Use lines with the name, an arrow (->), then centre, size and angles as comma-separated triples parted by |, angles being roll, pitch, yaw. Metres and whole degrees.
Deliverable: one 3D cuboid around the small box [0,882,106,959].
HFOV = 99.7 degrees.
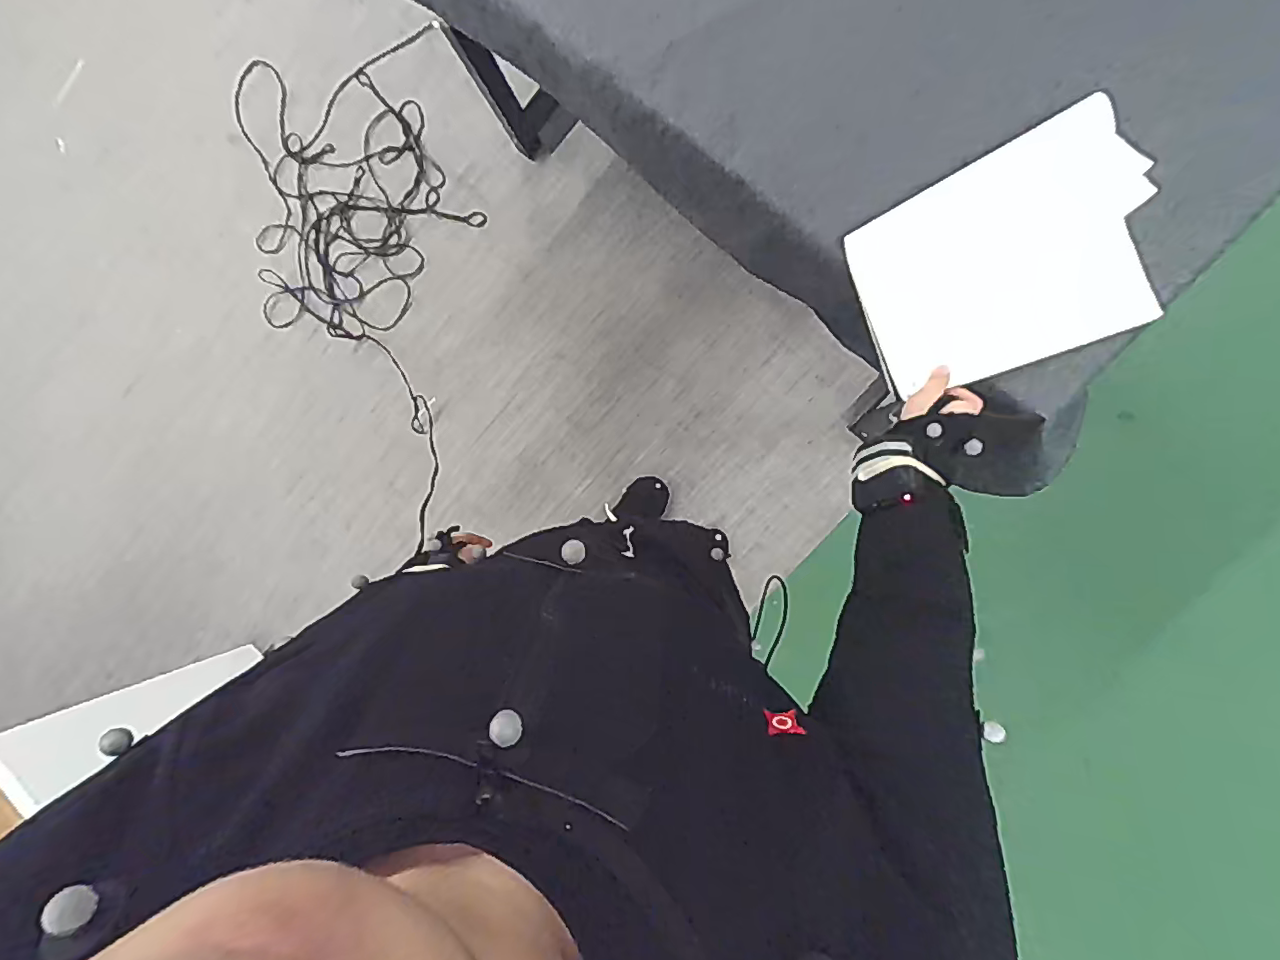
small box -> -0.988, 0.783, 0.832 | 0.179, 0.176, 0.168 | -44, 83, 8
